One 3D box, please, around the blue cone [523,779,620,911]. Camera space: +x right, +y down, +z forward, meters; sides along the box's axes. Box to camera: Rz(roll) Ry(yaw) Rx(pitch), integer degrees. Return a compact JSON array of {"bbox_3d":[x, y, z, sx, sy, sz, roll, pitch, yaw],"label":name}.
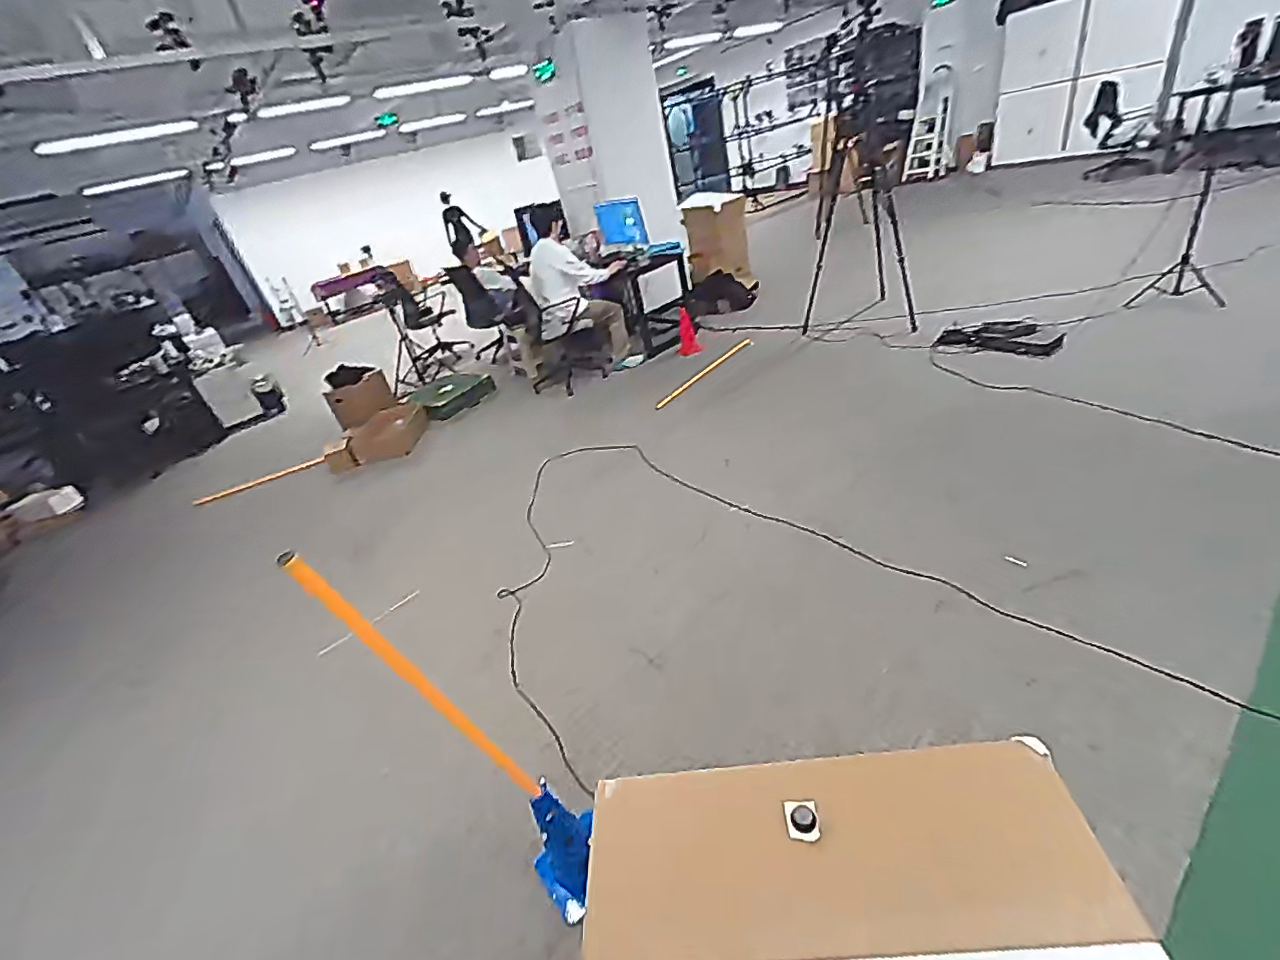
[{"bbox_3d":[-0.202,0.857,1.331,0.193,0.380,0.192,-36,37,-28],"label":"blue cone"}]
